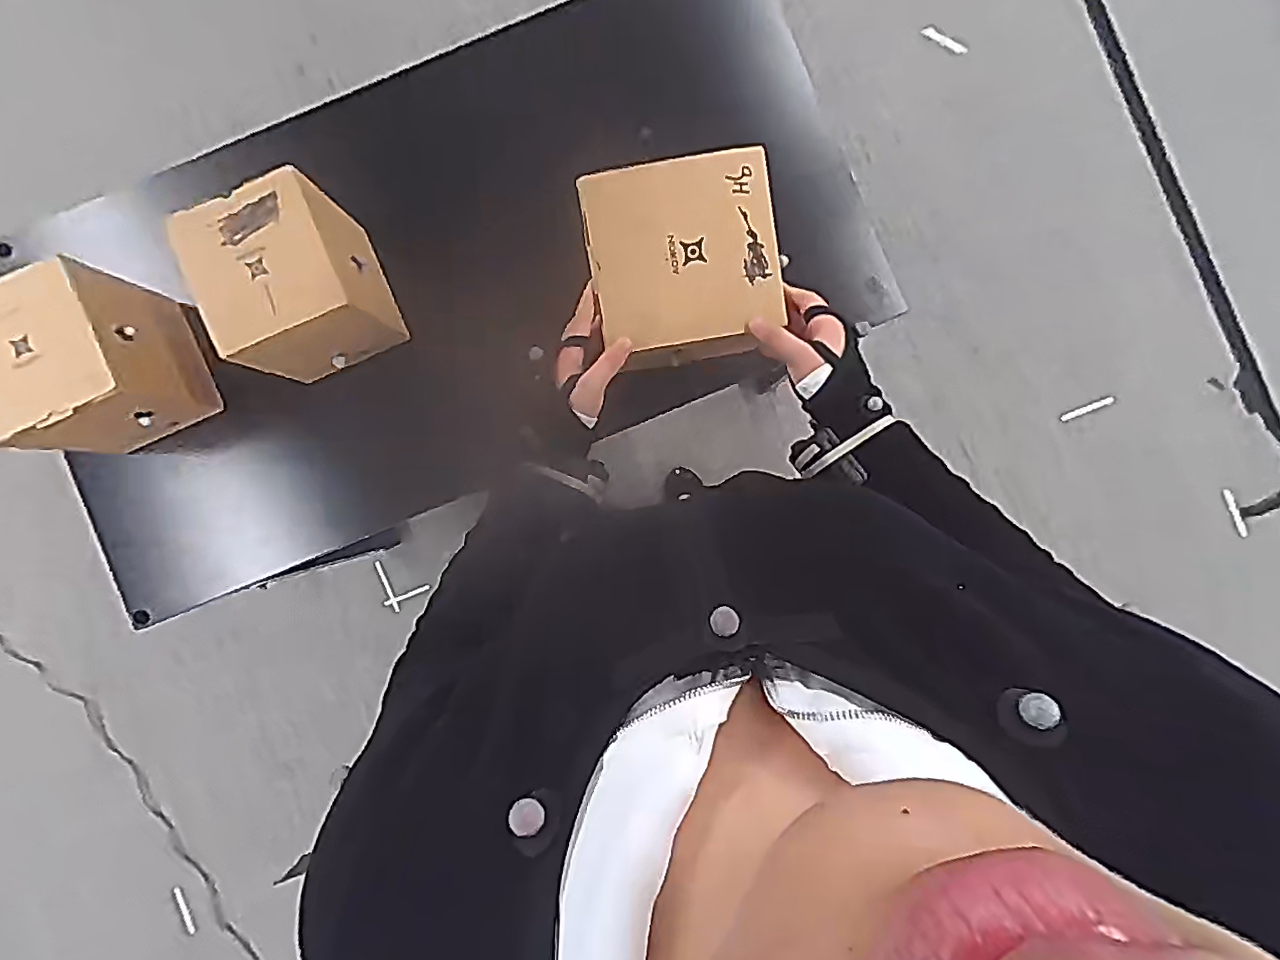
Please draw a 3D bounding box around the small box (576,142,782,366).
[{"bbox_3d":[0.039,-0.224,0.583,0.179,0.176,0.168,-9,96,1],"label":"small box"}]

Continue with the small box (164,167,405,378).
[{"bbox_3d":[-0.442,-0.253,0.703,0.168,0.176,0.179,-23,91,1],"label":"small box"}]

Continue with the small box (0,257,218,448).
[{"bbox_3d":[-0.710,-0.150,0.706,0.168,0.176,0.179,-25,89,-1],"label":"small box"}]
